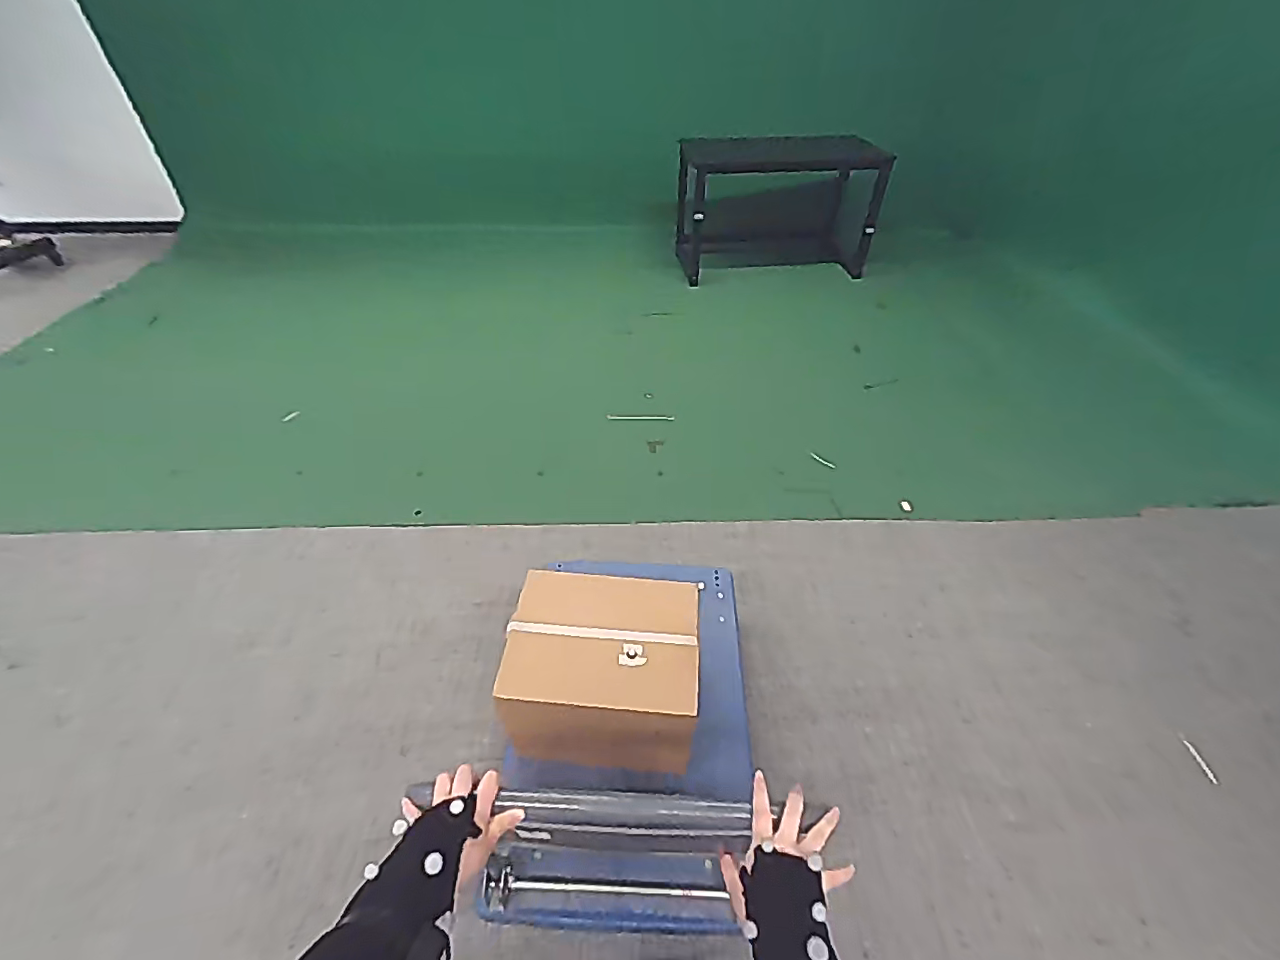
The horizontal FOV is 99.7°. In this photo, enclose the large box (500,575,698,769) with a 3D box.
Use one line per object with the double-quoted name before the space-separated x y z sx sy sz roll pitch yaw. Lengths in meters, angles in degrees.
"large box" -0.080 0.452 1.278 0.408 0.320 0.320 4 43 2
